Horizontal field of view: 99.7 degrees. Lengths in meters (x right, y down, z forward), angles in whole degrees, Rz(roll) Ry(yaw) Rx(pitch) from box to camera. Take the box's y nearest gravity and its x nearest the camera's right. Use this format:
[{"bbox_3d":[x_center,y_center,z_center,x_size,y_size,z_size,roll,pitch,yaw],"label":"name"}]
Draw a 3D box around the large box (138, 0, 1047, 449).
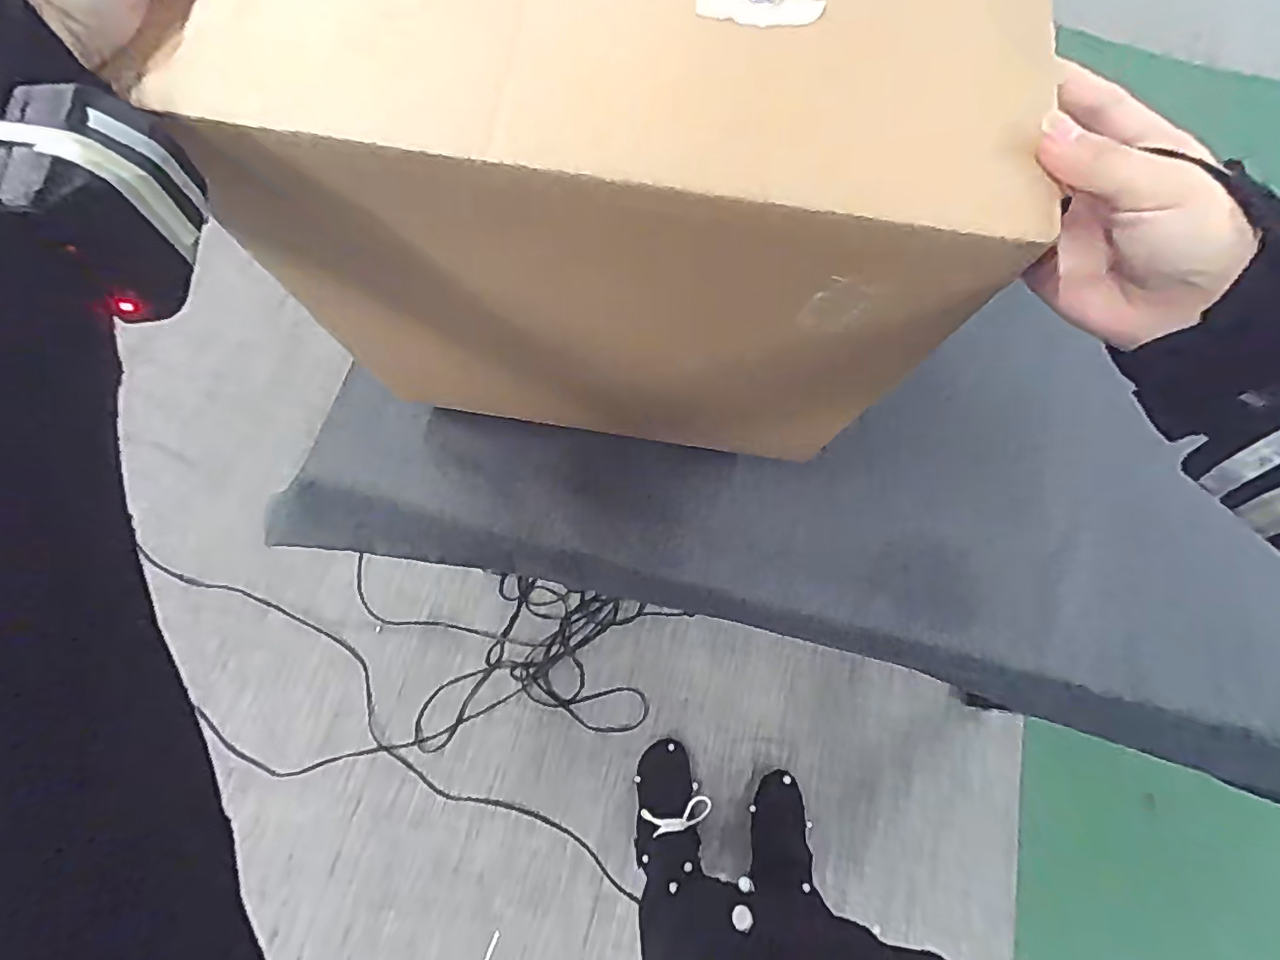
[{"bbox_3d":[-0.009,-0.236,0.415,0.408,0.320,0.320,8,75,-2],"label":"large box"}]
